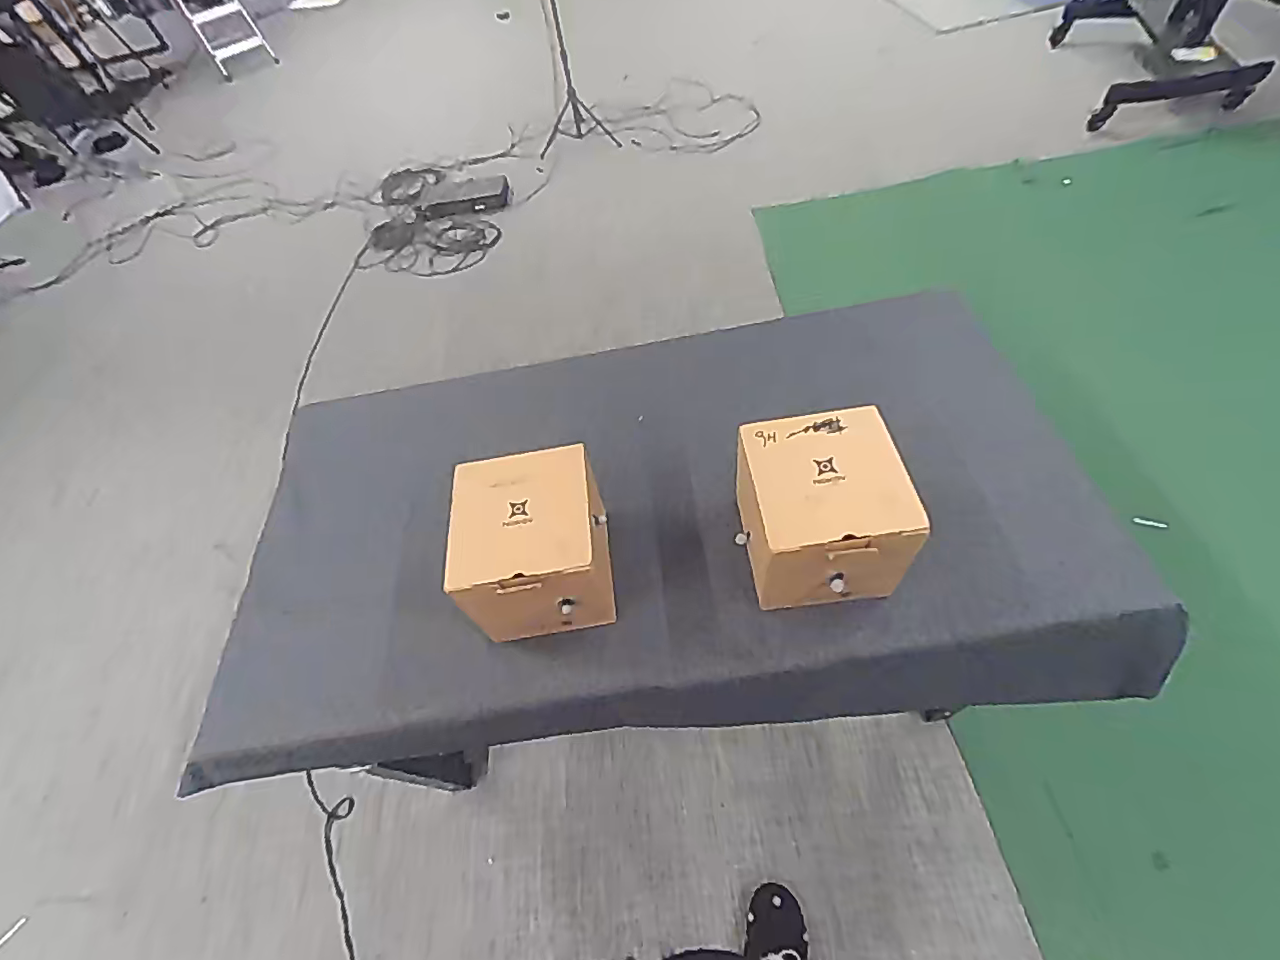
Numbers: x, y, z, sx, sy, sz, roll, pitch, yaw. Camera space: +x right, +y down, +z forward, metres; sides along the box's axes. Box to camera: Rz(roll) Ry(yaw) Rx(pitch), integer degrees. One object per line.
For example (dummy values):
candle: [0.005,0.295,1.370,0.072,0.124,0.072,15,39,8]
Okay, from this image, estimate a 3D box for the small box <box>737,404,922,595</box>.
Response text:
small box: [0.218,0.034,0.677,0.168,0.176,0.179,-8,56,3]

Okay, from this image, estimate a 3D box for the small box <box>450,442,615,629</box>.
small box: [-0.130,0.080,0.701,0.168,0.176,0.179,-10,53,0]
